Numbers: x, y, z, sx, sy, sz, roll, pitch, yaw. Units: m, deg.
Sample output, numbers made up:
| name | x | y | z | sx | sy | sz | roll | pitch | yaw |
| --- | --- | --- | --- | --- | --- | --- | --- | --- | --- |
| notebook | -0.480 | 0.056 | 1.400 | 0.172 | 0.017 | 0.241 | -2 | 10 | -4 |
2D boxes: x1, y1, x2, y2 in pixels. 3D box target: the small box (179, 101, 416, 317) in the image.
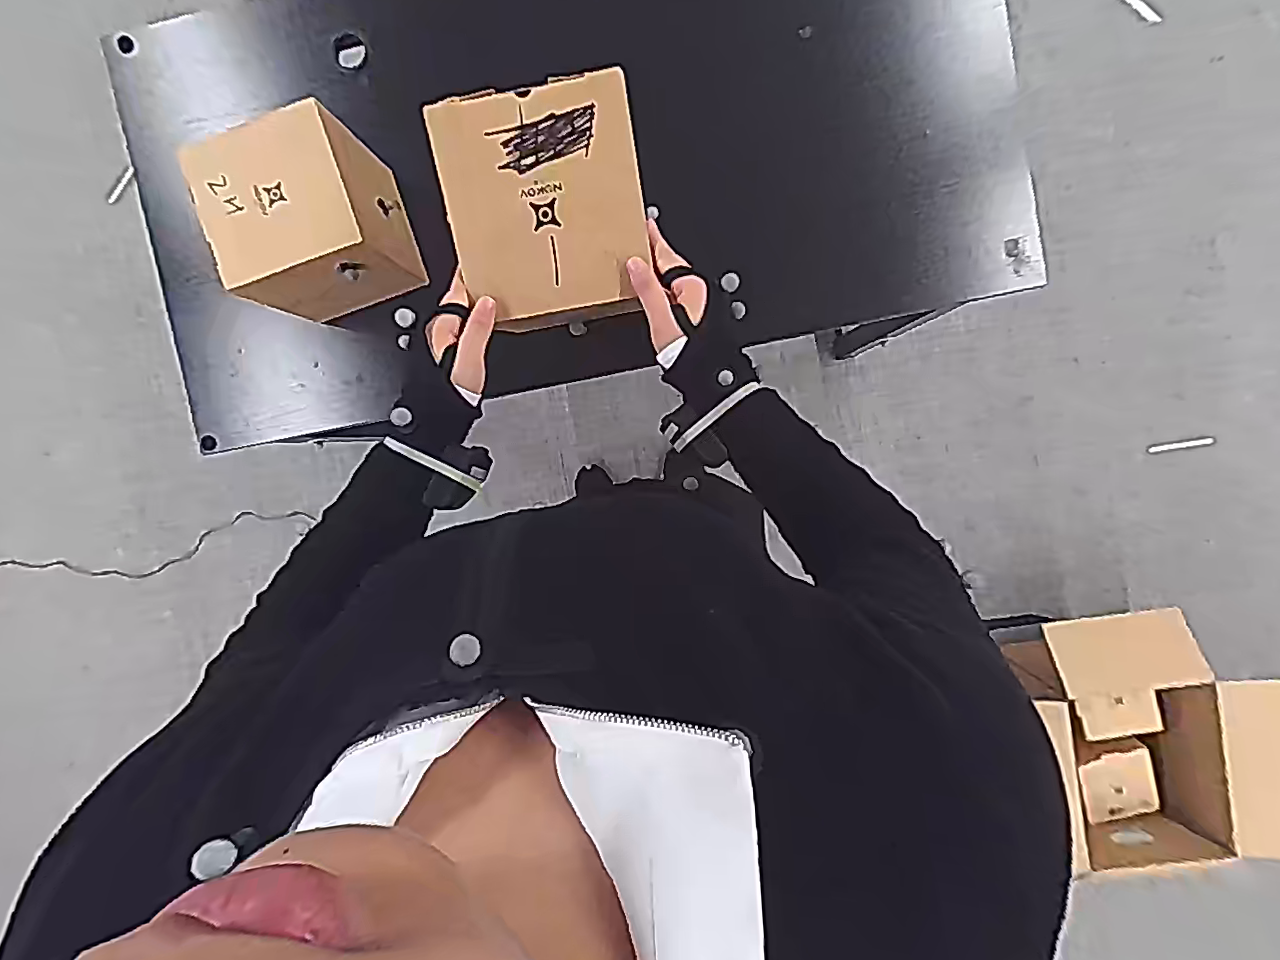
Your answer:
| name | x | y | z | sx | sy | sz | roll | pitch | yaw |
| --- | --- | --- | --- | --- | --- | --- | --- | --- | --- |
| small box | -0.412 | -0.326 | 0.689 | 0.179 | 0.176 | 0.168 | -18 | 93 | 5 |

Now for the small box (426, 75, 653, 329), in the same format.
| name | x | y | z | sx | sy | sz | roll | pitch | yaw |
| --- | --- | --- | --- | --- | --- | --- | --- | --- | --- |
| small box | -0.083 | -0.252 | 0.537 | 0.168 | 0.176 | 0.179 | -10 | 105 | 3 |
